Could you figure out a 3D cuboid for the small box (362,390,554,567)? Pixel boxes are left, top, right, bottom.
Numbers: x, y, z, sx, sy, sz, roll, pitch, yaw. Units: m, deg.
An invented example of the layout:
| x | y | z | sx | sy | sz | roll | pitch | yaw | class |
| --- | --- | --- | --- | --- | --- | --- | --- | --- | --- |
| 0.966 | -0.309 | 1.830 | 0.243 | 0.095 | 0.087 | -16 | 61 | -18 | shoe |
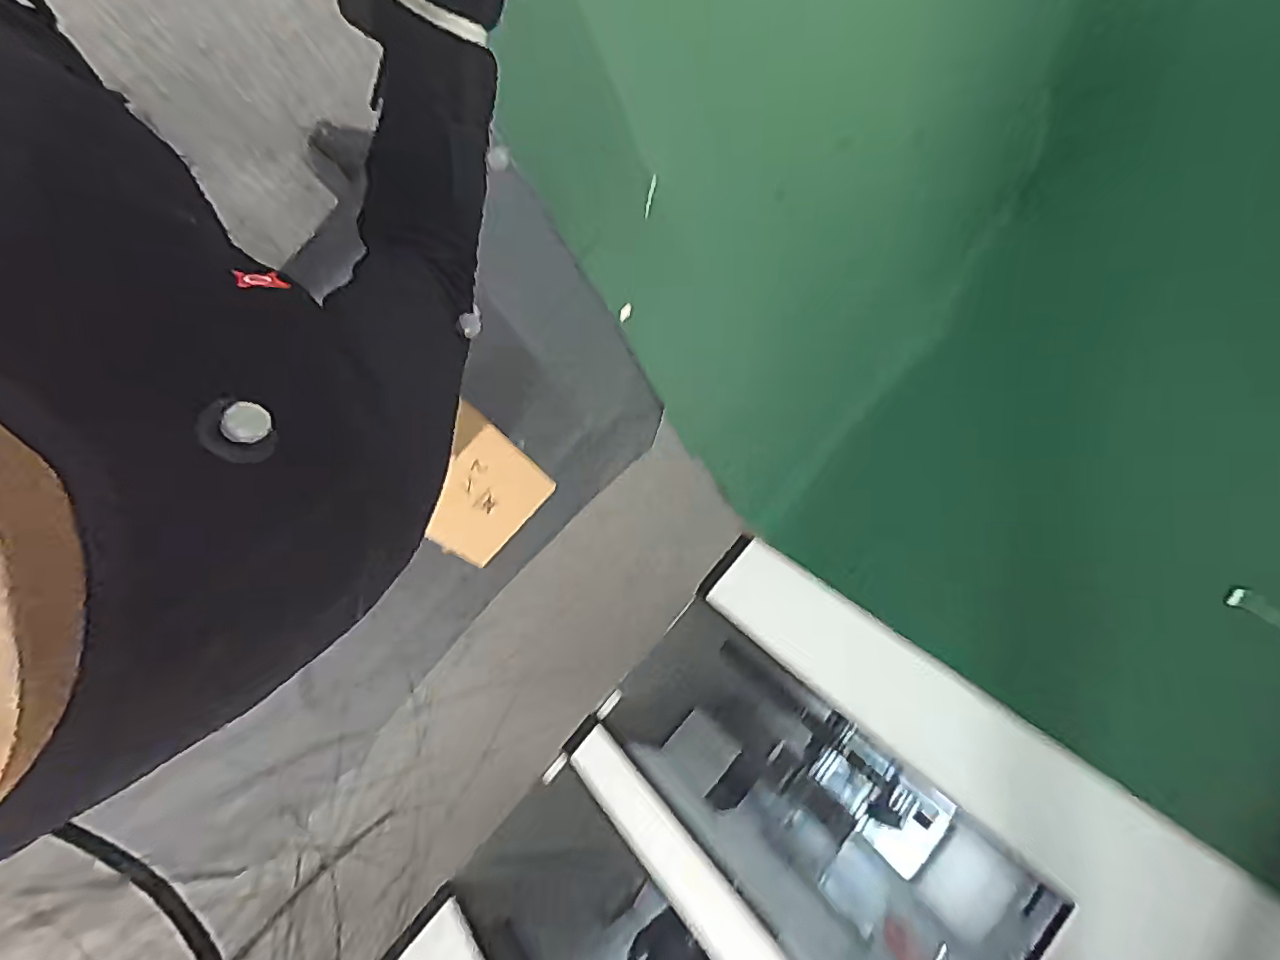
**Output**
| x | y | z | sx | sy | sz | roll | pitch | yaw | class |
| --- | --- | --- | --- | --- | --- | --- | --- | --- | --- |
| -0.269 | -0.006 | 0.805 | 0.168 | 0.176 | 0.179 | -49 | 143 | -8 | small box |
